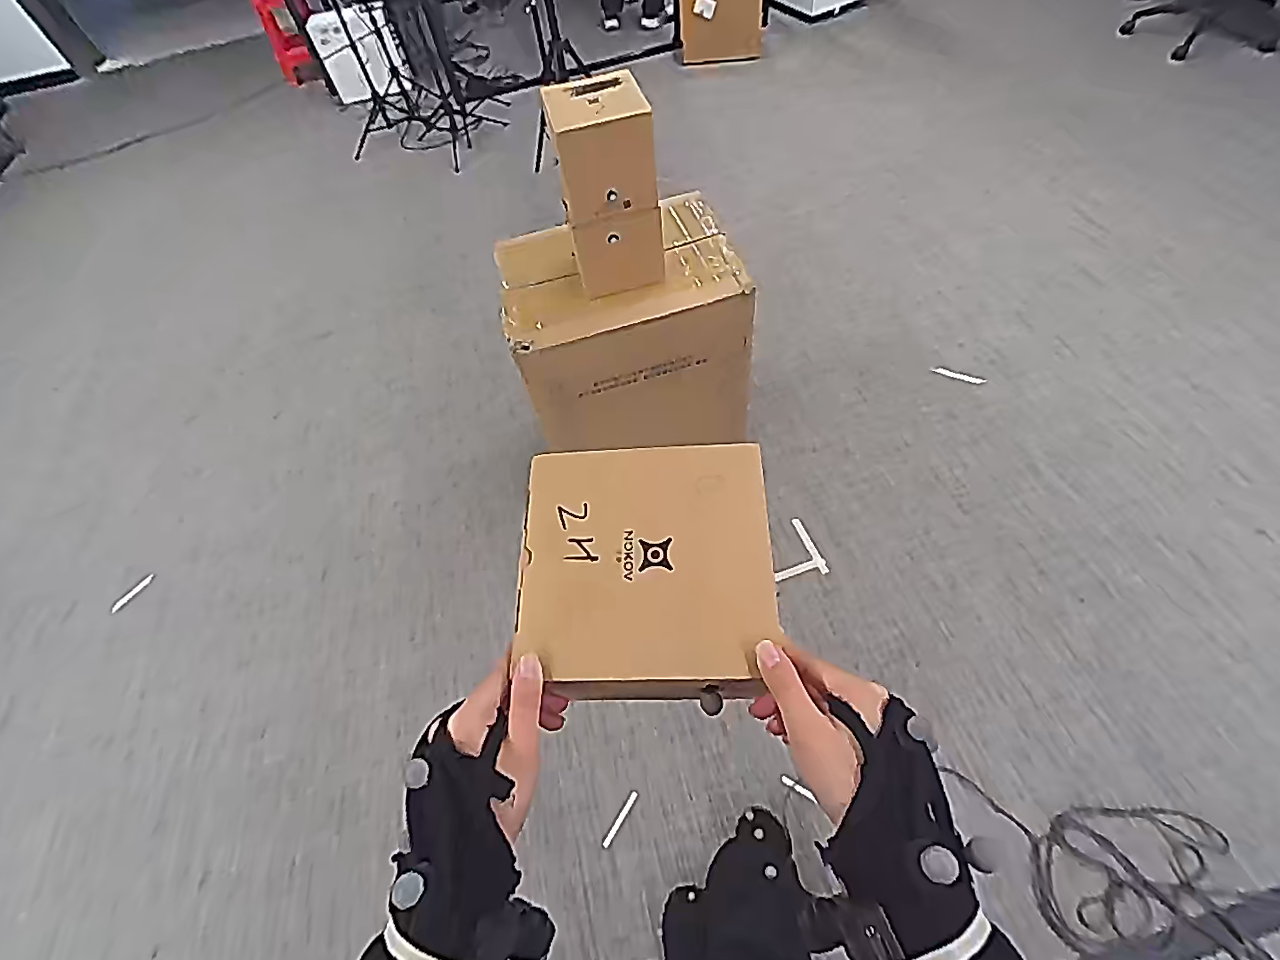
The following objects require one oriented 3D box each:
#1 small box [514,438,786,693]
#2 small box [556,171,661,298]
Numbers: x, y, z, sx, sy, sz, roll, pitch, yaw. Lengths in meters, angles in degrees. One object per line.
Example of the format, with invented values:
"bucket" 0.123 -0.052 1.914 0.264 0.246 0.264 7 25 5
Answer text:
"small box" 0.013 0.080 0.447 0.179 0.176 0.168 -3 63 6
"small box" -0.062 -0.507 1.131 0.179 0.176 0.168 -15 56 -3
